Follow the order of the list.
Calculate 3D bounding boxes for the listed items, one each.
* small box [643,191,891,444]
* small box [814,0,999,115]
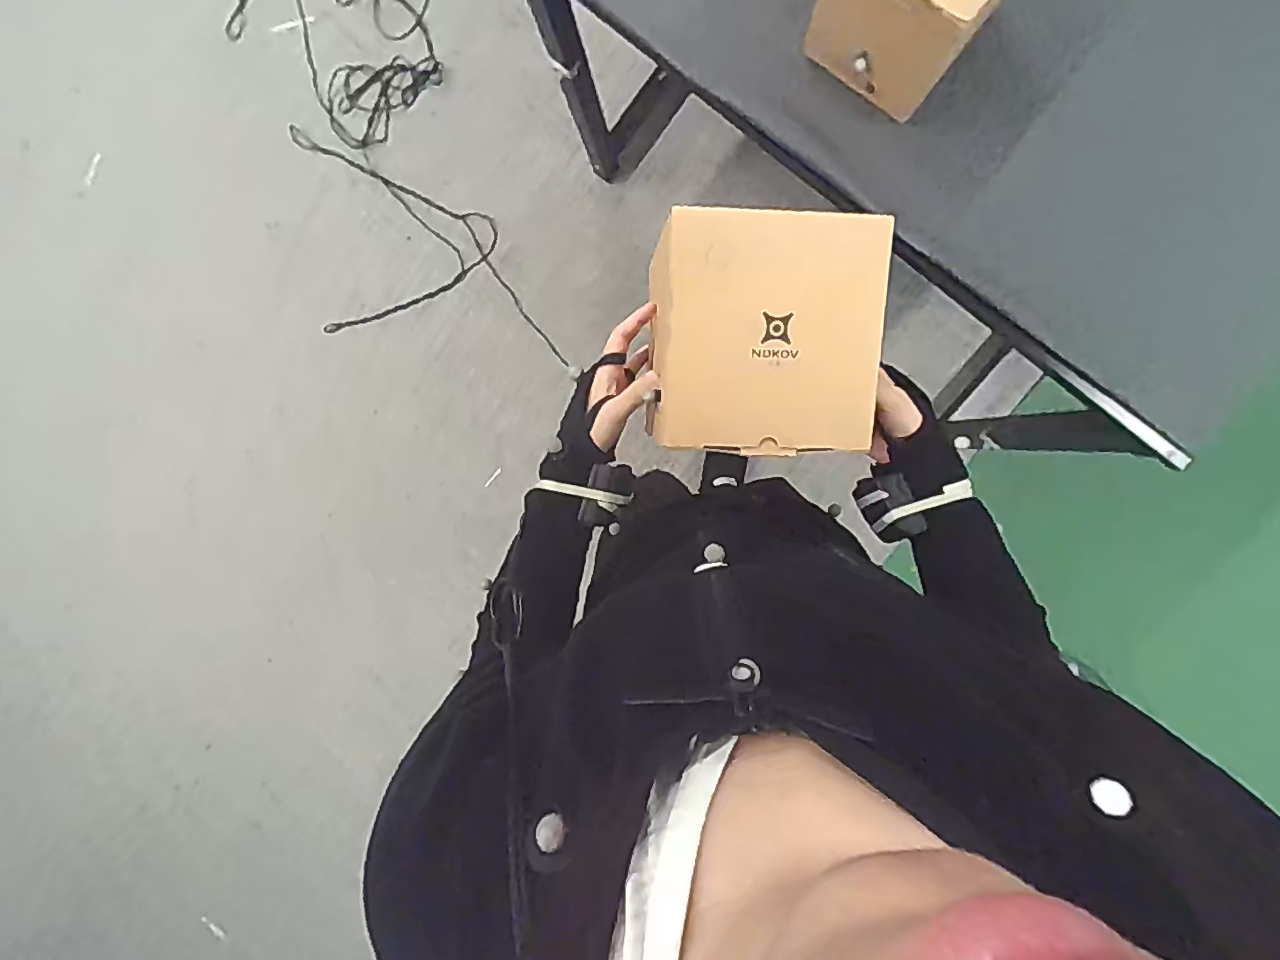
[{"bbox_3d":[0.091,-0.127,0.472,0.168,0.176,0.179,0,100,-4],"label":"small box"},{"bbox_3d":[0.321,-0.572,0.605,0.168,0.176,0.179,39,96,3],"label":"small box"}]
